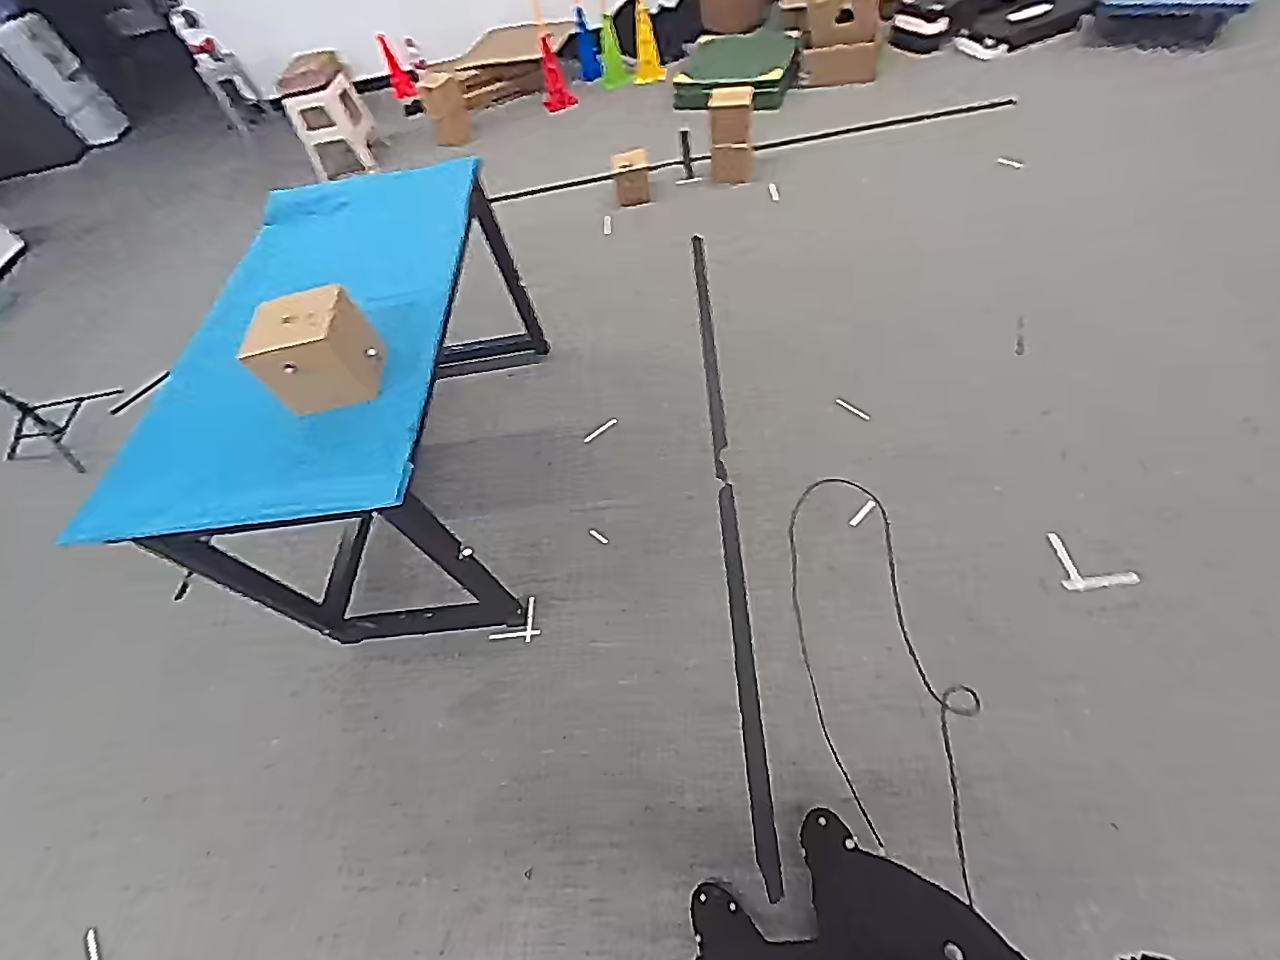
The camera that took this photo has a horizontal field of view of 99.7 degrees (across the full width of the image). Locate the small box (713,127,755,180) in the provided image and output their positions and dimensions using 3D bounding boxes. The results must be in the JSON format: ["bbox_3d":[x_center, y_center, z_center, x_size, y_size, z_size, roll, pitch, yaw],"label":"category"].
[{"bbox_3d":[0.455,-1.578,2.616,0.179,0.176,0.168,8,58,15],"label":"small box"}]

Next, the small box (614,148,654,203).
[{"bbox_3d":[-0.029,-1.489,2.658,0.168,0.176,0.179,-8,55,7],"label":"small box"}]

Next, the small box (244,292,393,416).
[{"bbox_3d":[-0.639,-0.249,1.098,0.179,0.176,0.168,-8,57,5],"label":"small box"}]

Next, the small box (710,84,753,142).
[{"bbox_3d":[0.424,-1.690,2.496,0.179,0.176,0.168,6,59,14],"label":"small box"}]
